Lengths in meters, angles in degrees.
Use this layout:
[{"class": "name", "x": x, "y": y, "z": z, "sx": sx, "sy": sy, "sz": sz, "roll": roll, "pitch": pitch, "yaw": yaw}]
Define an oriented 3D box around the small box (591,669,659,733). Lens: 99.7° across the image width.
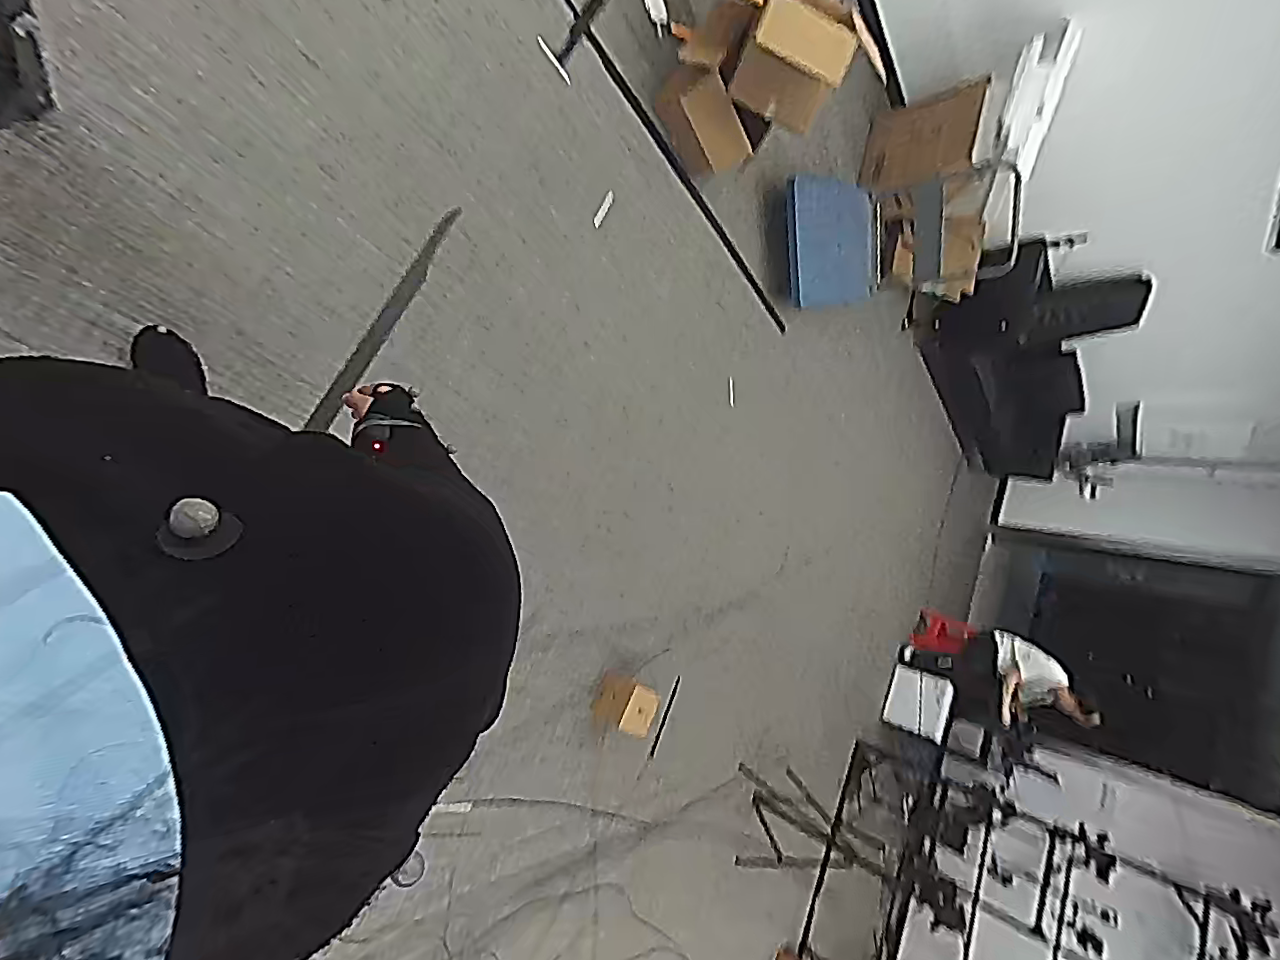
[{"class": "small box", "x": -0.062, "y": 0.867, "z": 2.136, "sx": 0.179, "sy": 0.176, "sz": 0.168, "roll": 42, "pitch": 67, "yaw": -41}]
